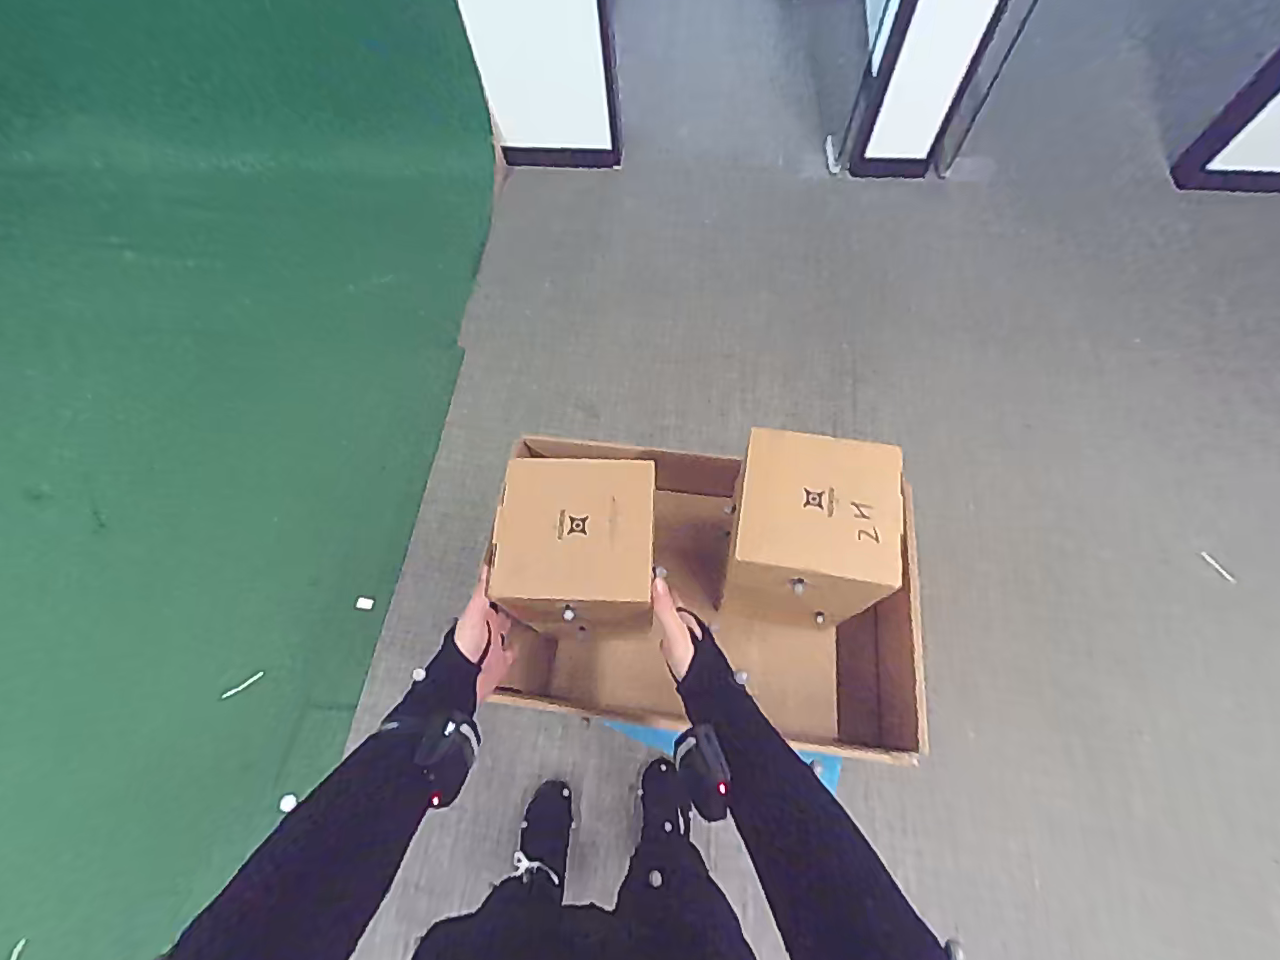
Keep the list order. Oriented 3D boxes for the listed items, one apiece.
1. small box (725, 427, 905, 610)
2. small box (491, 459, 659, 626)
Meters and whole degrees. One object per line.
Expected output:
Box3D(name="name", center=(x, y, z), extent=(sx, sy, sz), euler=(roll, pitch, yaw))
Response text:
Box3D(name="small box", center=(0.206, 0.055, 0.670), extent=(0.179, 0.176, 0.168), euler=(10, 68, 7))
Box3D(name="small box", center=(-0.067, 0.085, 0.674), extent=(0.179, 0.176, 0.168), euler=(2, 66, 2))
